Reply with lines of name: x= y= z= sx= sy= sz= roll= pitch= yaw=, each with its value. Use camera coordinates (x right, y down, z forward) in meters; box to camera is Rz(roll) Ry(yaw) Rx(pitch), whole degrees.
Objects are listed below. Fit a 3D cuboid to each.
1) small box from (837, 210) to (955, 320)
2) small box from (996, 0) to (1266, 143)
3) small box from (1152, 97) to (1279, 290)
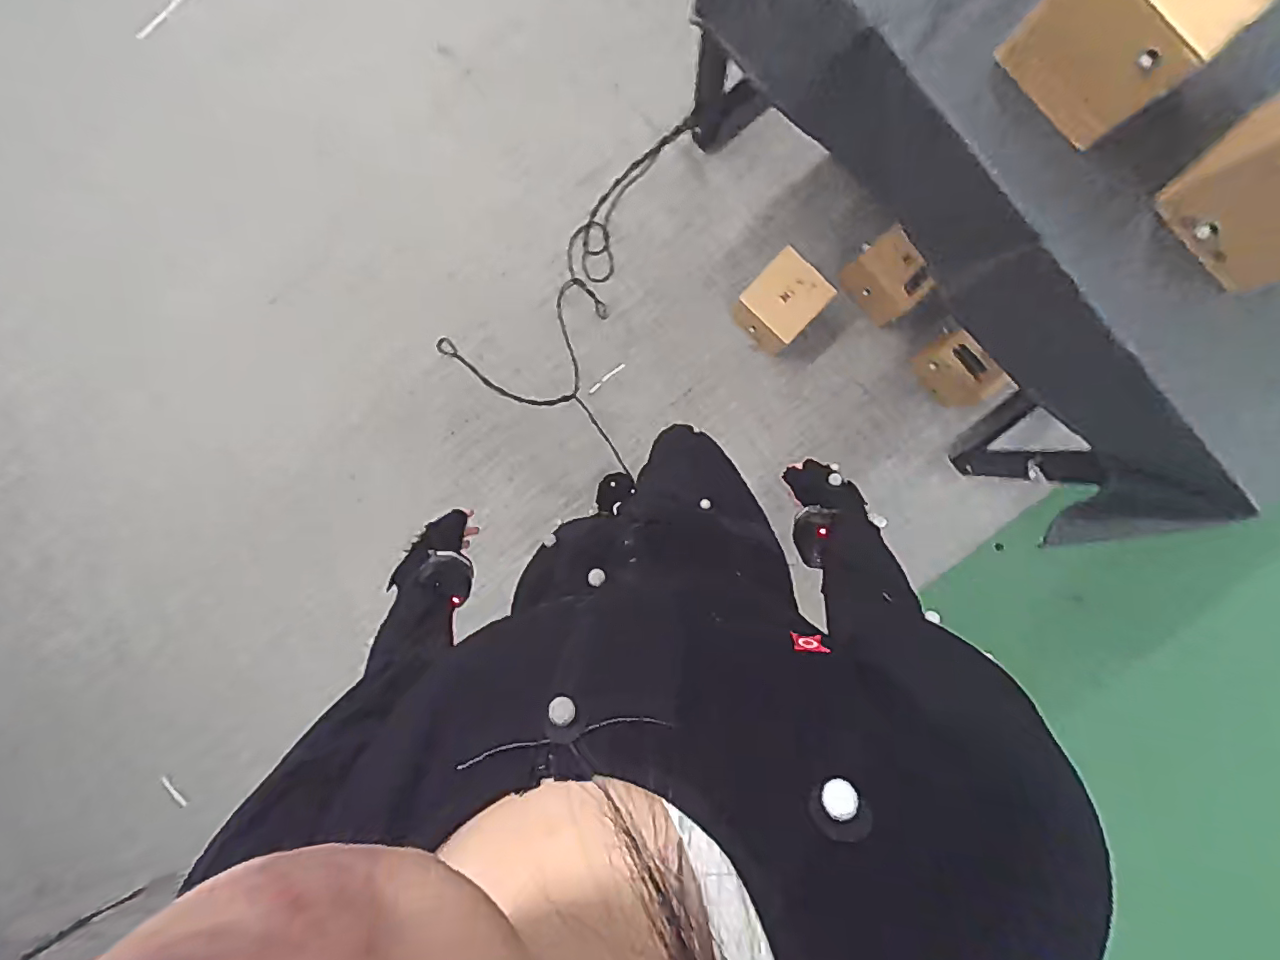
small box: x=0.631 y=-0.525 z=1.357 sx=0.168 sy=0.176 sz=0.179 roll=-41 pitch=90 yaw=3
small box: x=0.574 y=-0.549 z=0.631 sx=0.168 sy=0.176 sz=0.179 roll=-45 pitch=92 yaw=3
small box: x=0.785 y=-0.361 z=0.637 sx=0.179 sy=0.176 sz=0.168 roll=-42 pitch=91 yaw=4
